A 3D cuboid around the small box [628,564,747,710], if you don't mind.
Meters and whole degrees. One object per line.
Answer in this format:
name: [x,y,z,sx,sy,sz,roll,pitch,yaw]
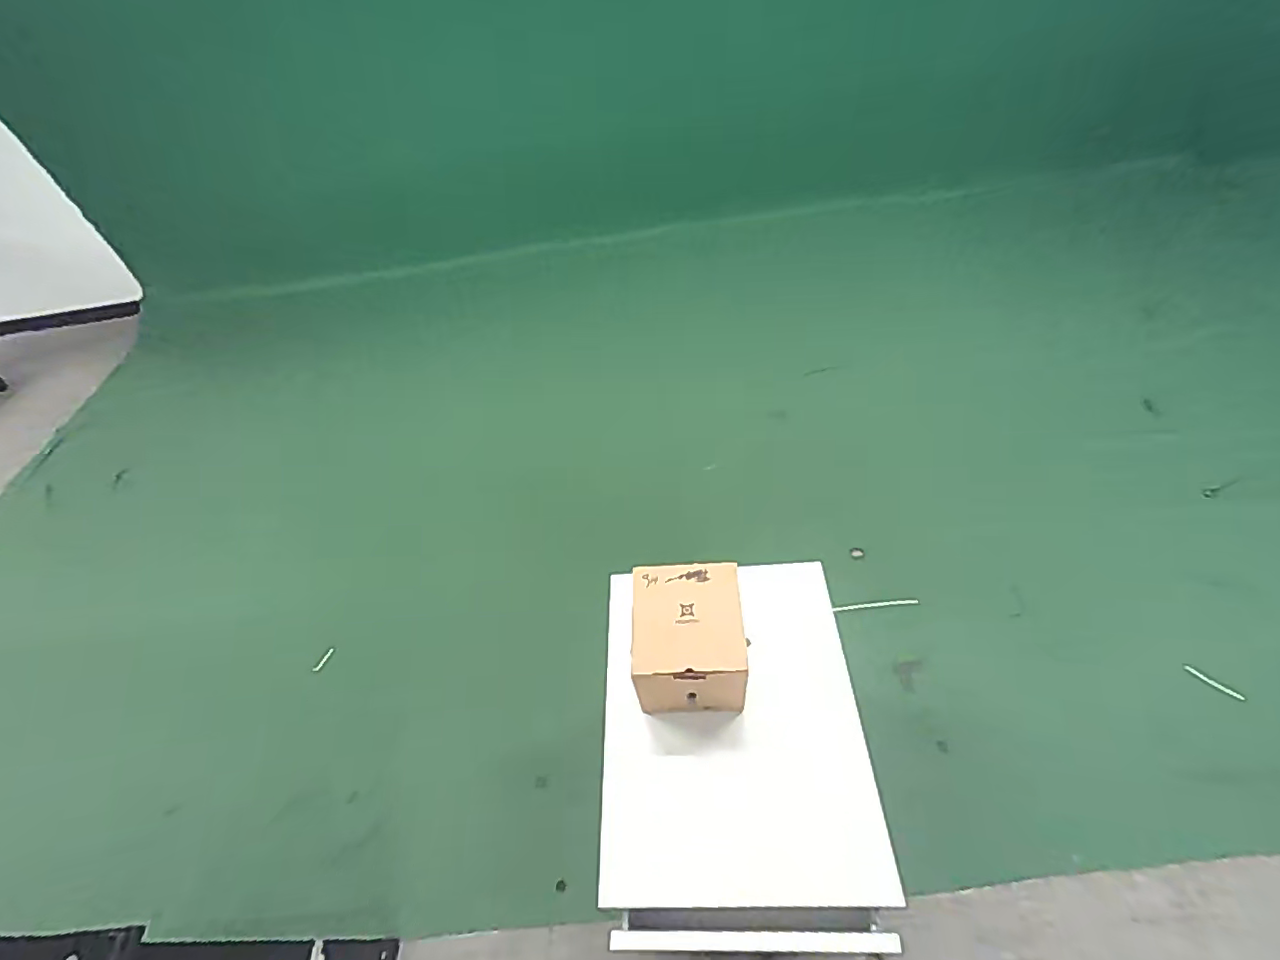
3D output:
small box: [0.076,0.250,0.844,0.168,0.176,0.179,-3,50,5]
